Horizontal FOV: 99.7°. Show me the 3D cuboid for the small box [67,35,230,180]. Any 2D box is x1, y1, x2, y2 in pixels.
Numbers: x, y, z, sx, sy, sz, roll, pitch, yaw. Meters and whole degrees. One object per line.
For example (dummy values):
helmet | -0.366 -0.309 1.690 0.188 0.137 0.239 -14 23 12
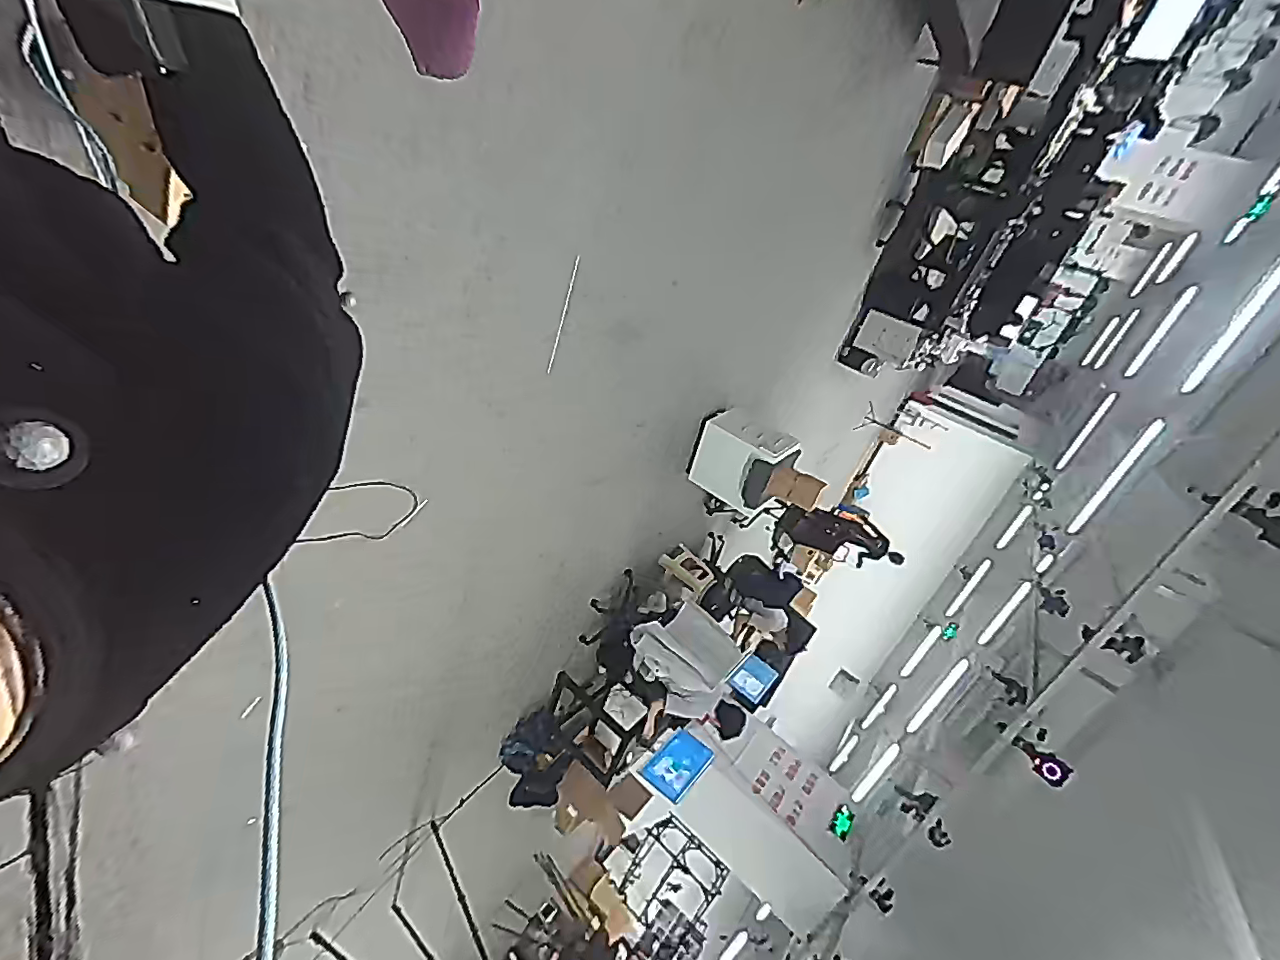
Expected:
small box | -0.886 -0.673 0.984 0.179 0.176 0.168 -19 135 -51
